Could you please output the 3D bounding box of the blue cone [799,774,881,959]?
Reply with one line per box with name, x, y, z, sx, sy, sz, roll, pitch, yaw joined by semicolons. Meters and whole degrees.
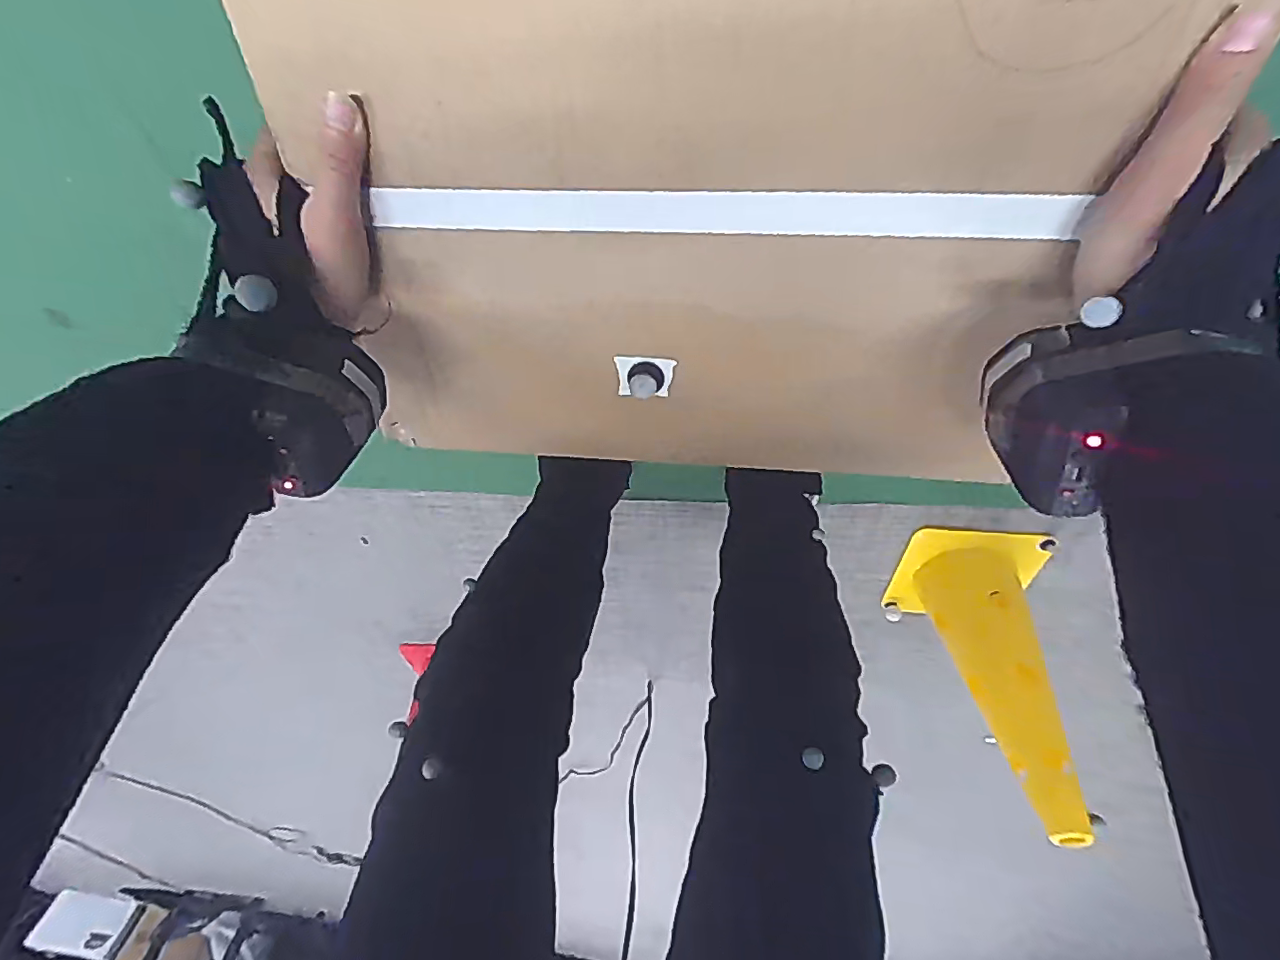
blue cone;0.500;0.916;1.285;0.192;0.380;0.193;1;131;7
